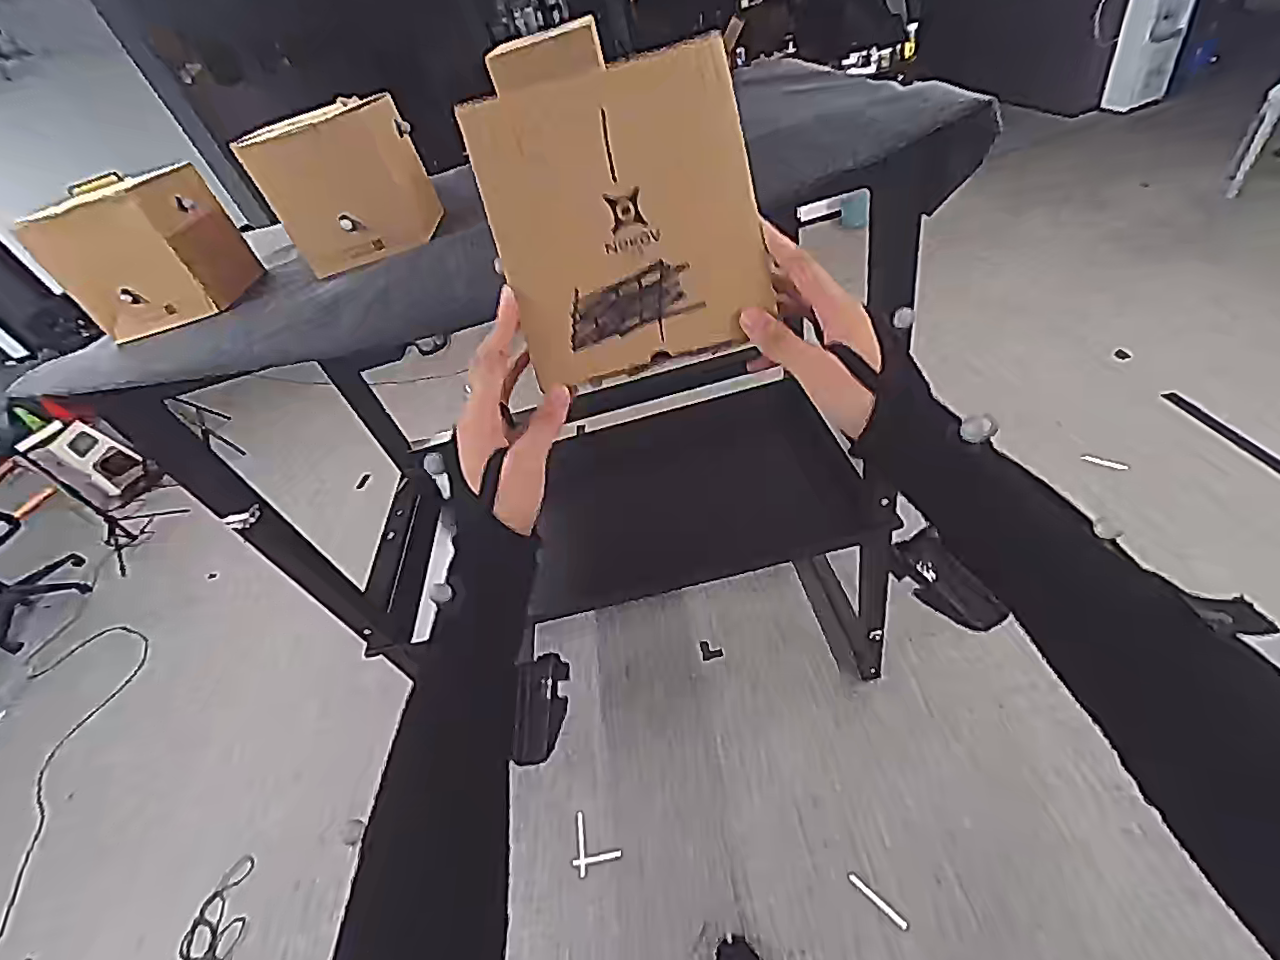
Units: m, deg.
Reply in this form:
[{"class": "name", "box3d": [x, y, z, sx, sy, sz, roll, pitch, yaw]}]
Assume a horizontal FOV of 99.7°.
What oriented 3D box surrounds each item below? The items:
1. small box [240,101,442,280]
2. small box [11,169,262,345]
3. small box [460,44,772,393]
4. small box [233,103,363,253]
[{"class": "small box", "box3d": [-0.402, -0.409, 0.768, 0.168, 0.176, 0.179, -16, 41, 3]}, {"class": "small box", "box3d": [-0.695, -0.320, 0.780, 0.168, 0.176, 0.179, -16, 41, 2]}, {"class": "small box", "box3d": [-0.013, -0.179, 0.419, 0.168, 0.179, 0.176, -15, 14, 0]}, {"class": "small box", "box3d": [-0.536, -0.521, 0.937, 0.179, 0.176, 0.168, -16, 42, 2]}]
